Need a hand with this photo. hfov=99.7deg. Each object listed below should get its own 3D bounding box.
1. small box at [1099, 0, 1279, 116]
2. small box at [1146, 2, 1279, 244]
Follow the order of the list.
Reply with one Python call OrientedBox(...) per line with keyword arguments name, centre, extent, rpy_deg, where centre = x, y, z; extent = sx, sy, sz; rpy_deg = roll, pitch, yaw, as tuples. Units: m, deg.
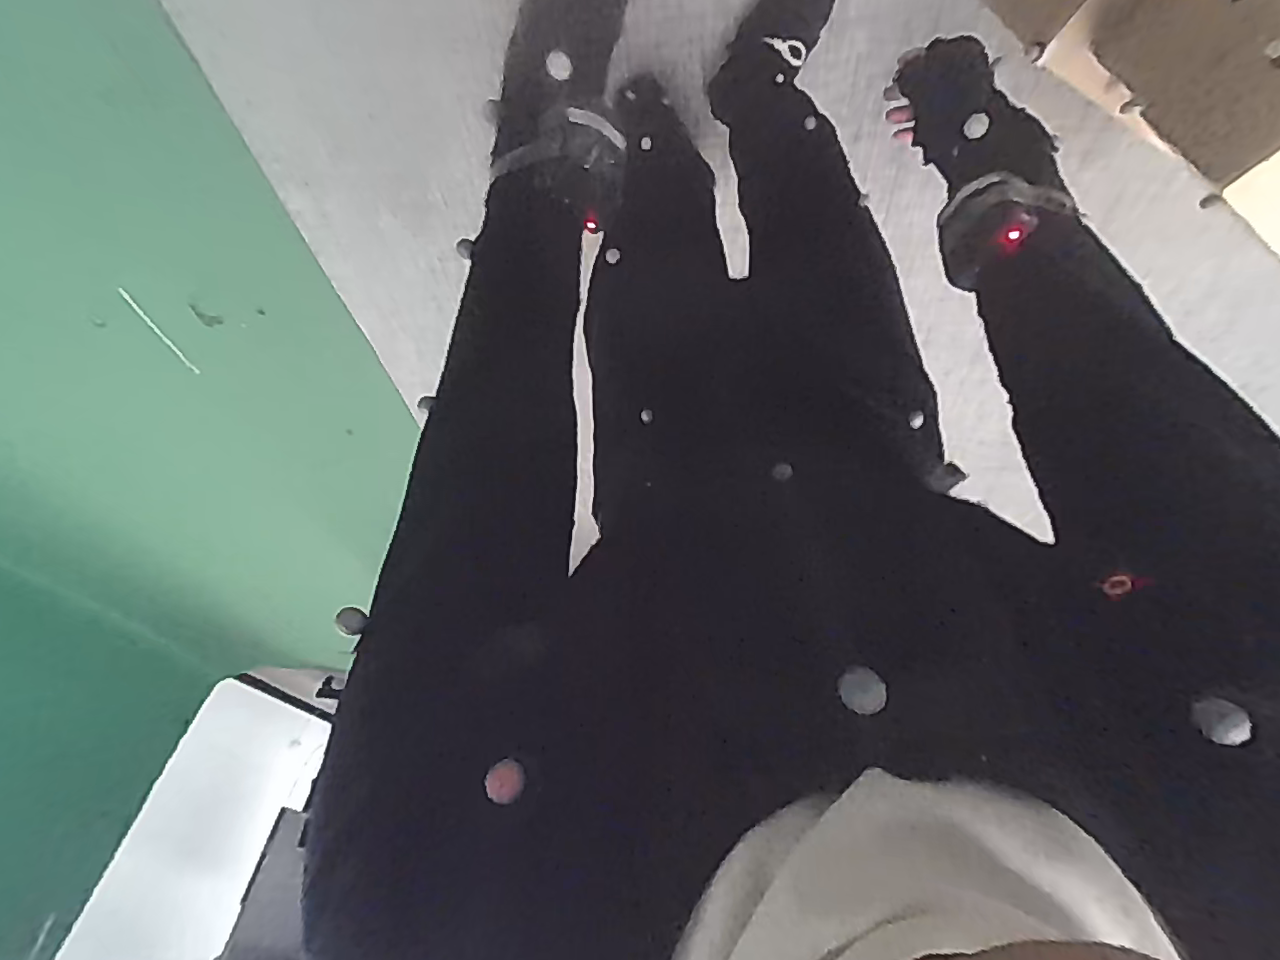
OrientedBox(name="small box", centre=(0.643, -0.458, 0.562), extent=(0.168, 0.176, 0.179), rpy_deg=(22, 143, -15))
OrientedBox(name="small box", centre=(0.618, -0.322, 0.478), extent=(0.179, 0.176, 0.168), rpy_deg=(22, 140, -16))
